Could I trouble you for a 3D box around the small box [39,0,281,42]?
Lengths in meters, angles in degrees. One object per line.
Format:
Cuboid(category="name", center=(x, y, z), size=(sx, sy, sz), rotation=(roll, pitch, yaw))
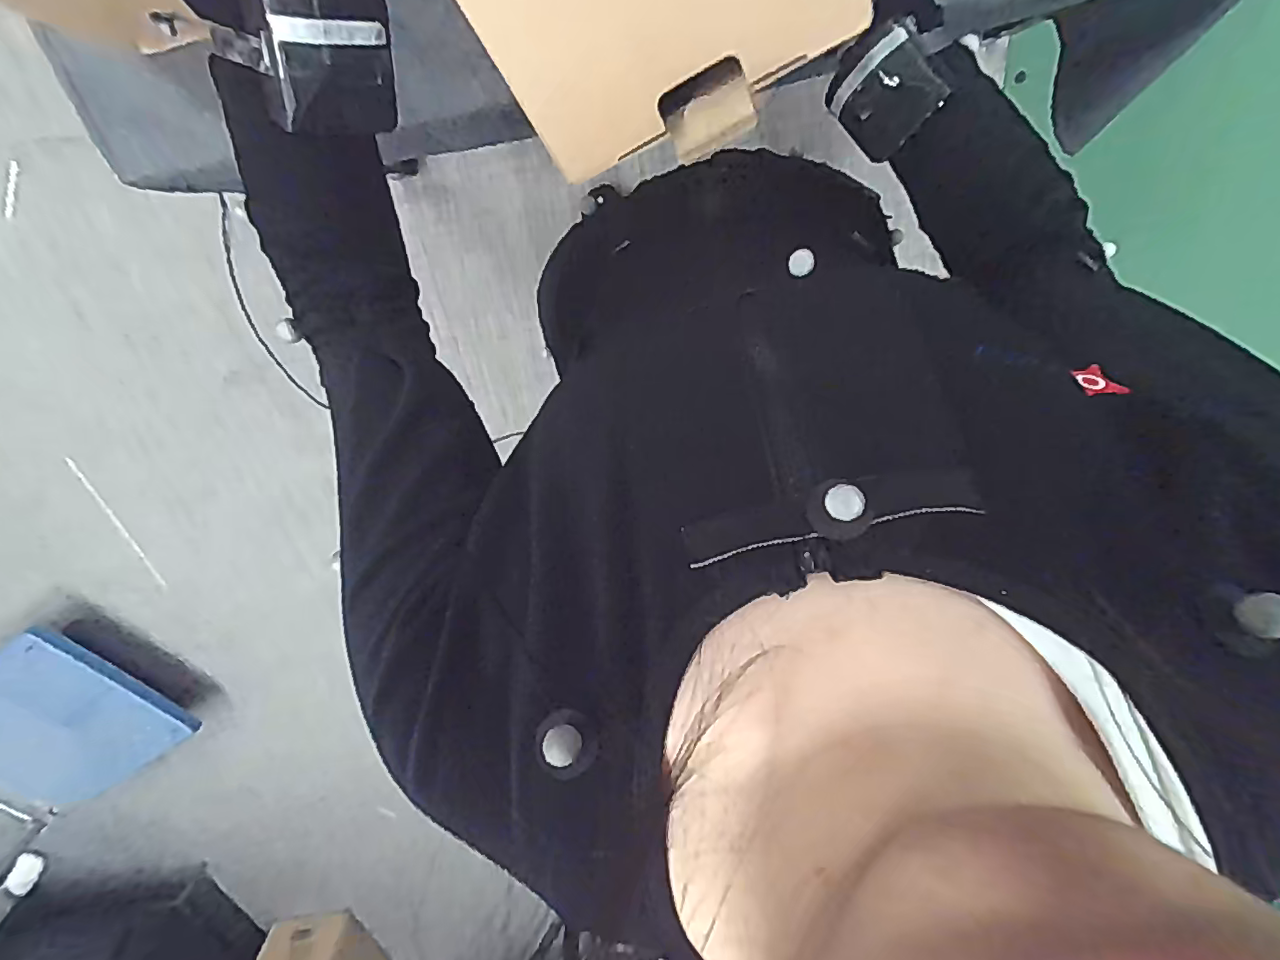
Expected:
Cuboid(category="small box", center=(-0.432, -0.481, 0.416), size=(0.168, 0.176, 0.179), rotation=(-11, 118, 4))
